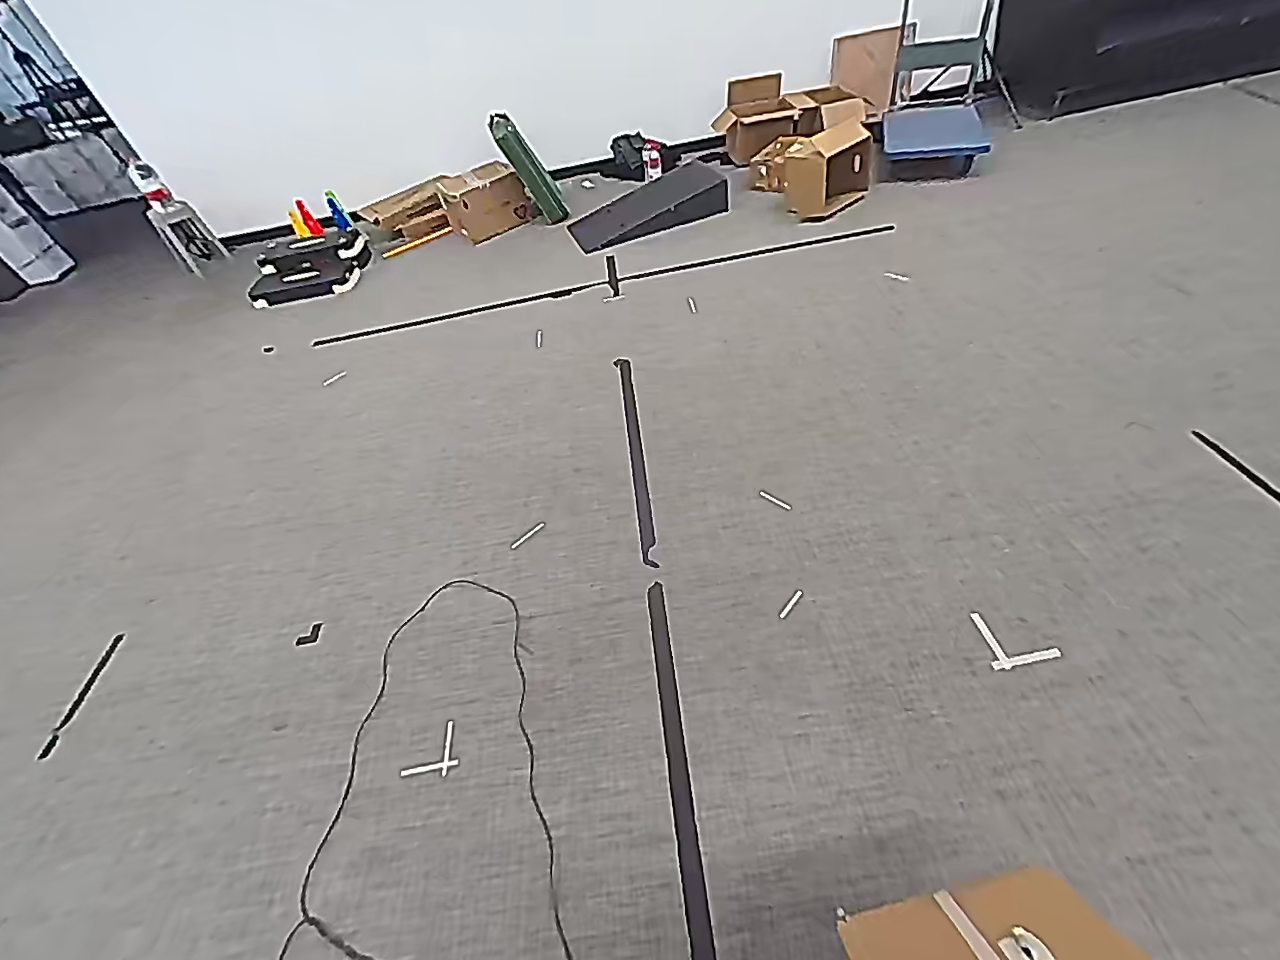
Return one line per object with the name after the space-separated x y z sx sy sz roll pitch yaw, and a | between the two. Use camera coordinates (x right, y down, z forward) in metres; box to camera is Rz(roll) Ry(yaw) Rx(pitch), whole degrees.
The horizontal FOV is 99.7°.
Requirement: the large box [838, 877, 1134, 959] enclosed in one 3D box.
0.466 0.734 0.573 0.320 0.408 0.320 -15 81 2 | large box
